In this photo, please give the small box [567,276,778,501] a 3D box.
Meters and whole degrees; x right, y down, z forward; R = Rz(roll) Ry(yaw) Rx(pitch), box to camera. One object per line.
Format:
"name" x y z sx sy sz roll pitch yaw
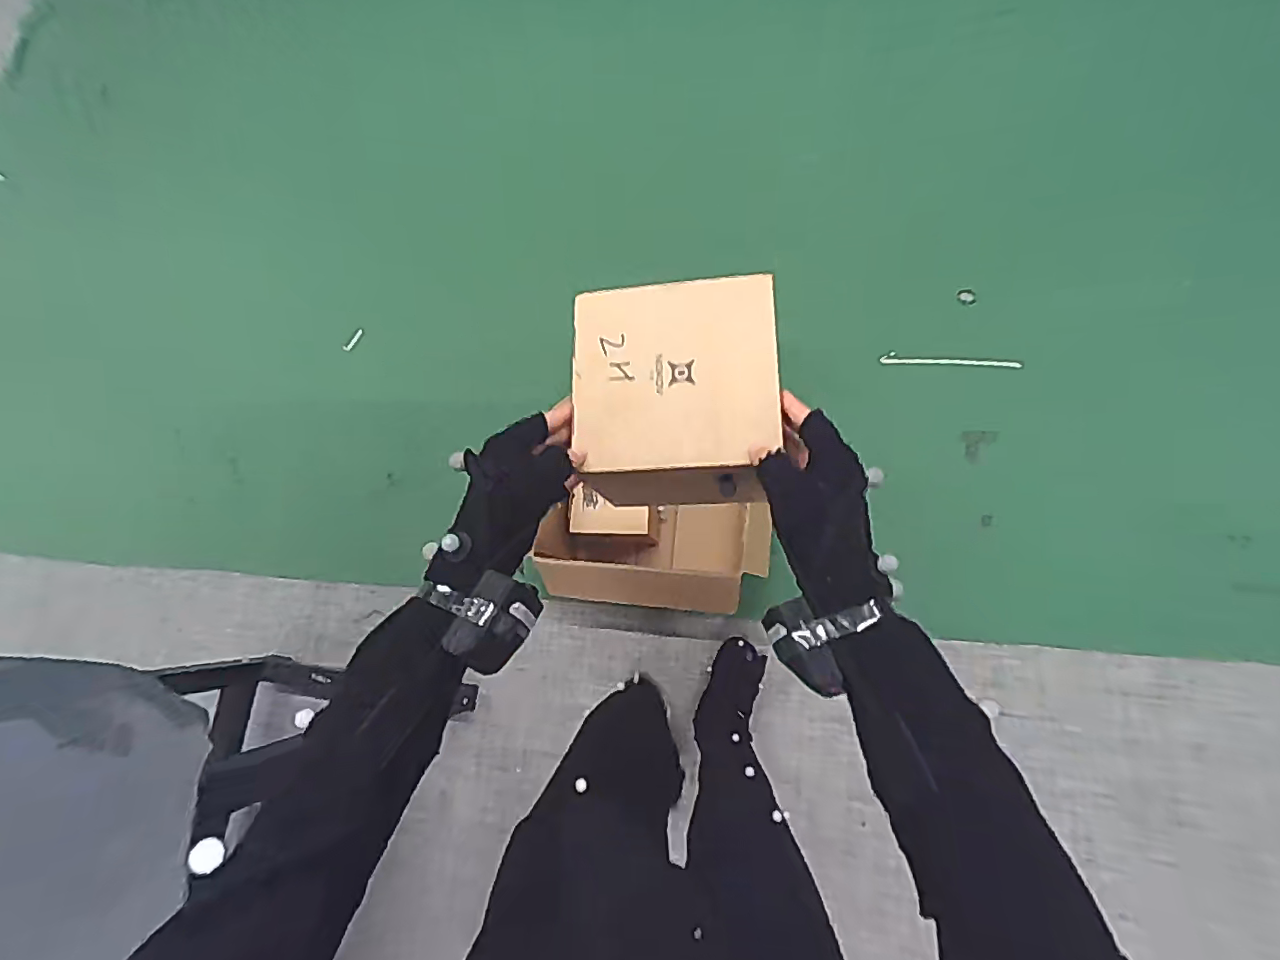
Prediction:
"small box" 0.038 -0.075 0.534 0.179 0.176 0.168 -3 77 11
